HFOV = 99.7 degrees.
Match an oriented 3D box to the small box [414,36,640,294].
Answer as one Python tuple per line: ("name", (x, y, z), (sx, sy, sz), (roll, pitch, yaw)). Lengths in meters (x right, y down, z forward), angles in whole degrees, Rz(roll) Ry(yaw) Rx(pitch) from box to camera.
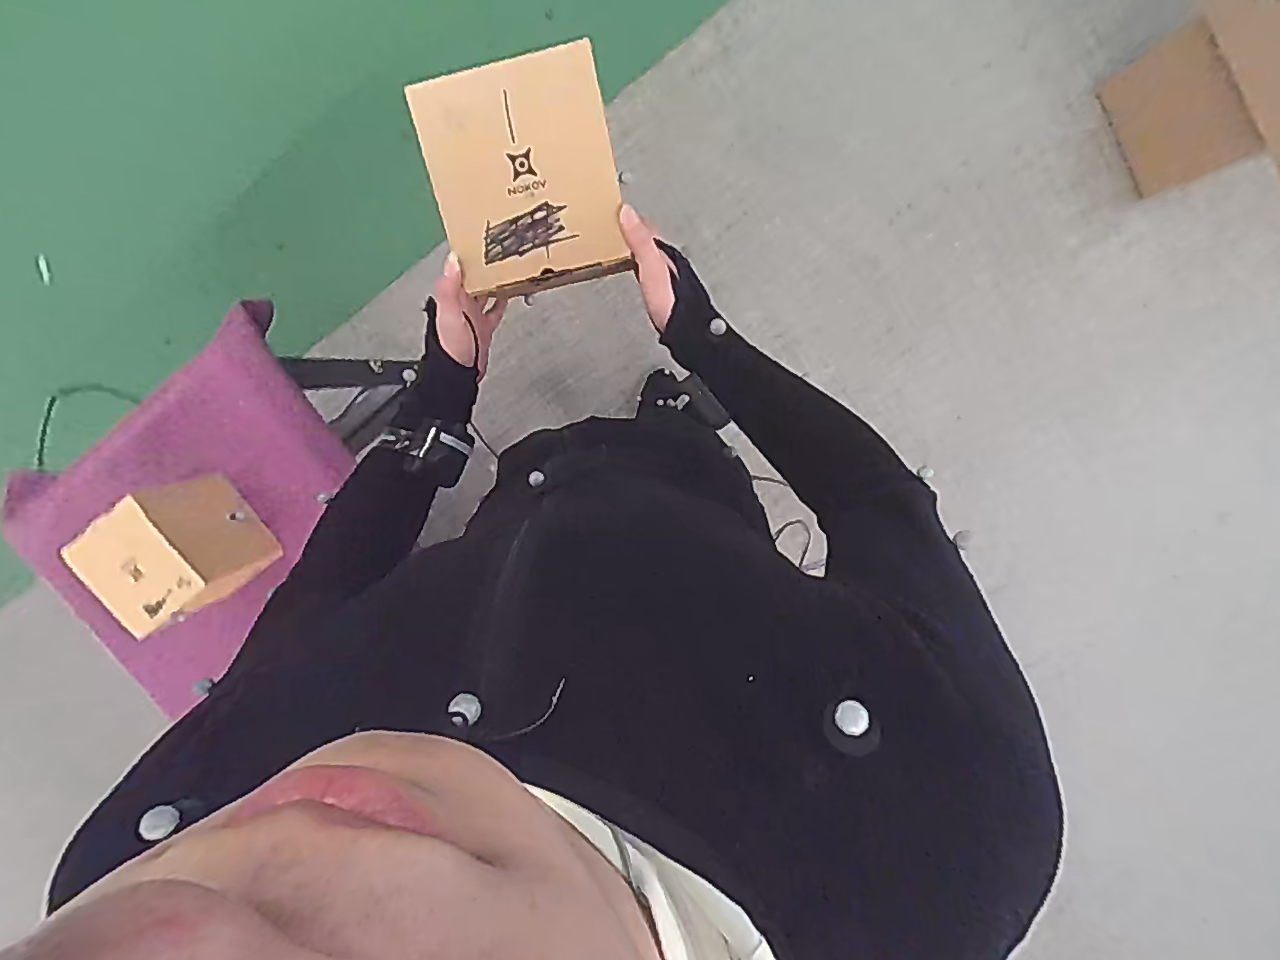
("small box", (-0.094, -0.294, 0.549), (0.168, 0.176, 0.179), (-11, 107, 3))

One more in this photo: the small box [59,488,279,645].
("small box", (-0.757, 0.128, 0.889), (0.168, 0.176, 0.179), (-35, 97, 11))
